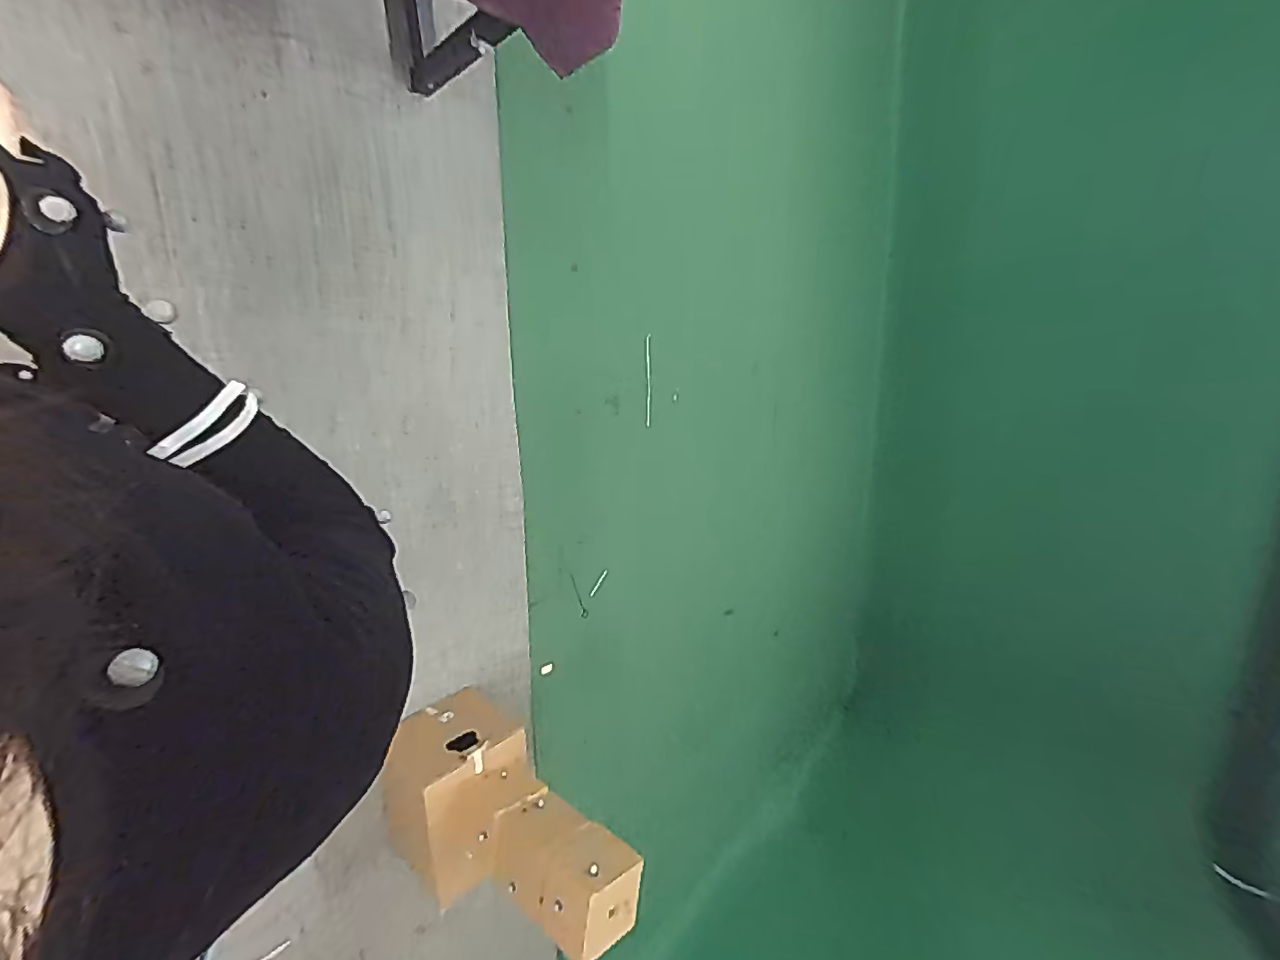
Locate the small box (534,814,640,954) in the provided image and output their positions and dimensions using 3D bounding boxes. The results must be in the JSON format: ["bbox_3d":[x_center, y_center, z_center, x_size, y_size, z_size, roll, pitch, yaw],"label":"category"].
[{"bbox_3d":[-0.127,0.935,1.272,0.179,0.176,0.168,6,94,-49],"label":"small box"}]

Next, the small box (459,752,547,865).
[{"bbox_3d":[-0.378,0.886,1.477,0.168,0.176,0.179,0,98,-48],"label":"small box"}]

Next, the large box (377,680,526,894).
[{"bbox_3d":[-0.559,0.902,1.645,0.320,0.320,0.408,-16,110,-45],"label":"large box"}]

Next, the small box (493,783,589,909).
[{"bbox_3d":[-0.254,0.917,1.375,0.168,0.176,0.179,5,94,-49],"label":"small box"}]
